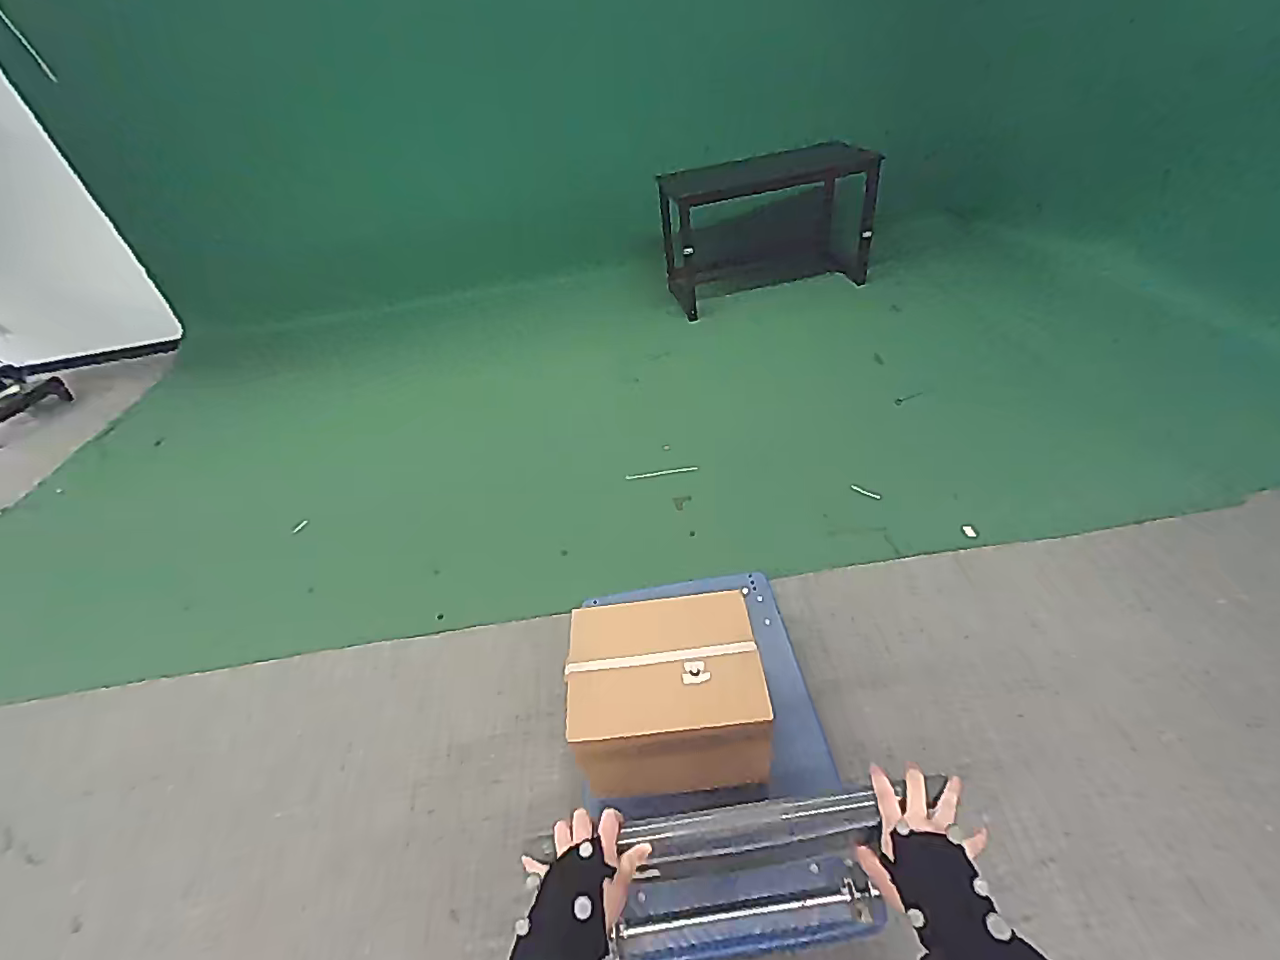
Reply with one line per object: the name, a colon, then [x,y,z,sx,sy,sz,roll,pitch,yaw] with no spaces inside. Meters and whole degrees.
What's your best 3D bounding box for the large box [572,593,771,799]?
large box: [0.066,0.505,1.267,0.408,0.320,0.320,-7,40,1]
